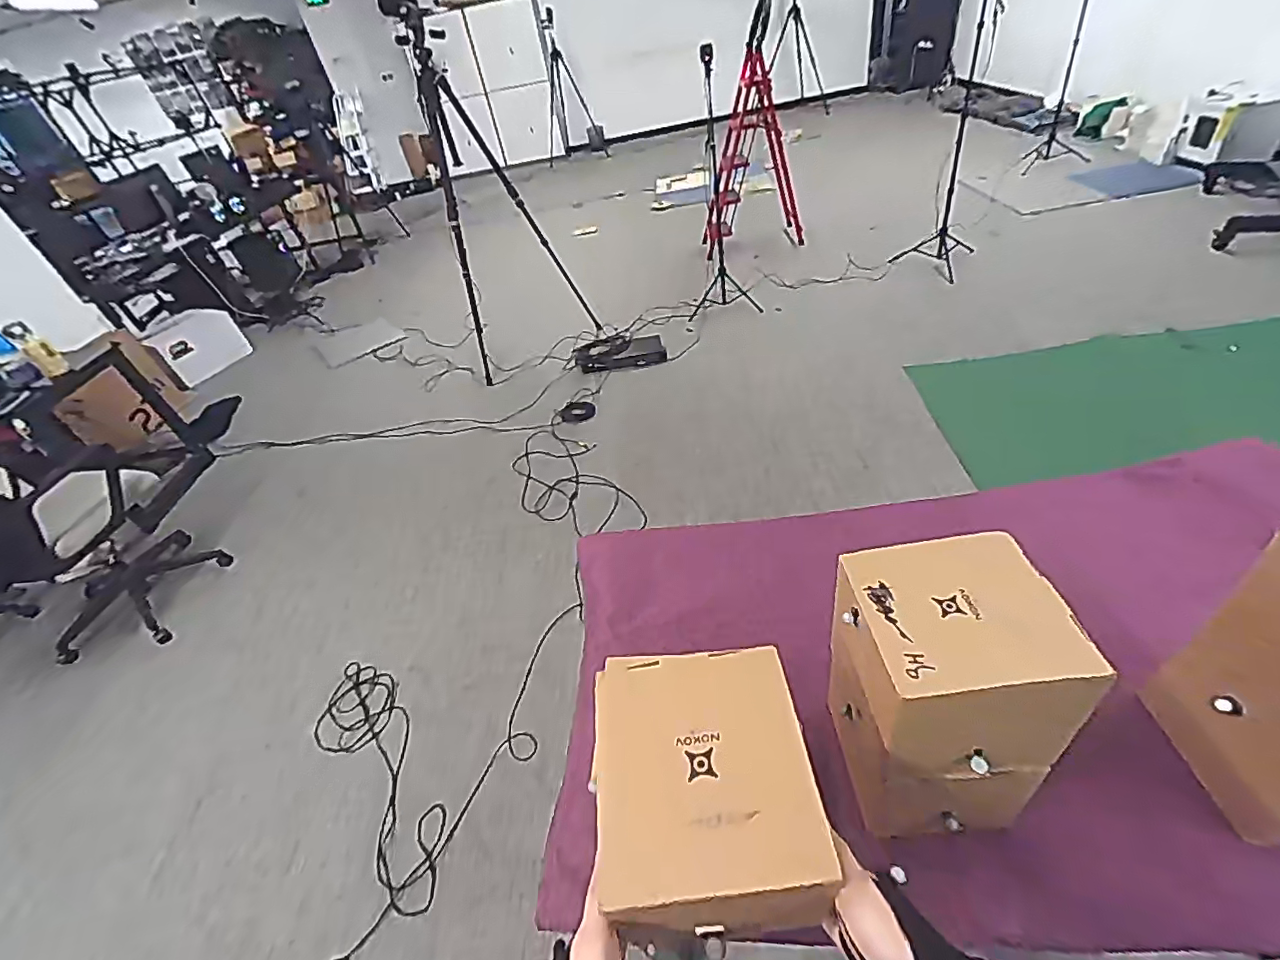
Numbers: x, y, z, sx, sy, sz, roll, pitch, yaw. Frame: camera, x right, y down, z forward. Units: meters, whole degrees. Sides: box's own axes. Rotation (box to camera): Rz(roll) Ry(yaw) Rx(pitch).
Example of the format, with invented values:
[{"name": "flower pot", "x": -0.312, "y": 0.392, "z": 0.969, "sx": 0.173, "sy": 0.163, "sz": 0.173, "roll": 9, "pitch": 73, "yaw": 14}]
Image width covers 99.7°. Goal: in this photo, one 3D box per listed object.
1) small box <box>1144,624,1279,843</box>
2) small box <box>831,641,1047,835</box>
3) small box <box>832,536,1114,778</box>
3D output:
[{"name": "small box", "x": 0.730, "y": 0.275, "z": 0.600, "sx": 0.168, "sy": 0.176, "sz": 0.179, "roll": -7, "pitch": 41, "yaw": 7}, {"name": "small box", "x": 0.341, "y": 0.305, "z": 0.664, "sx": 0.168, "sy": 0.176, "sz": 0.179, "roll": -9, "pitch": 40, "yaw": 6}, {"name": "small box", "x": 0.313, "y": 0.182, "z": 0.557, "sx": 0.179, "sy": 0.176, "sz": 0.168, "roll": -9, "pitch": 38, "yaw": 4}]
